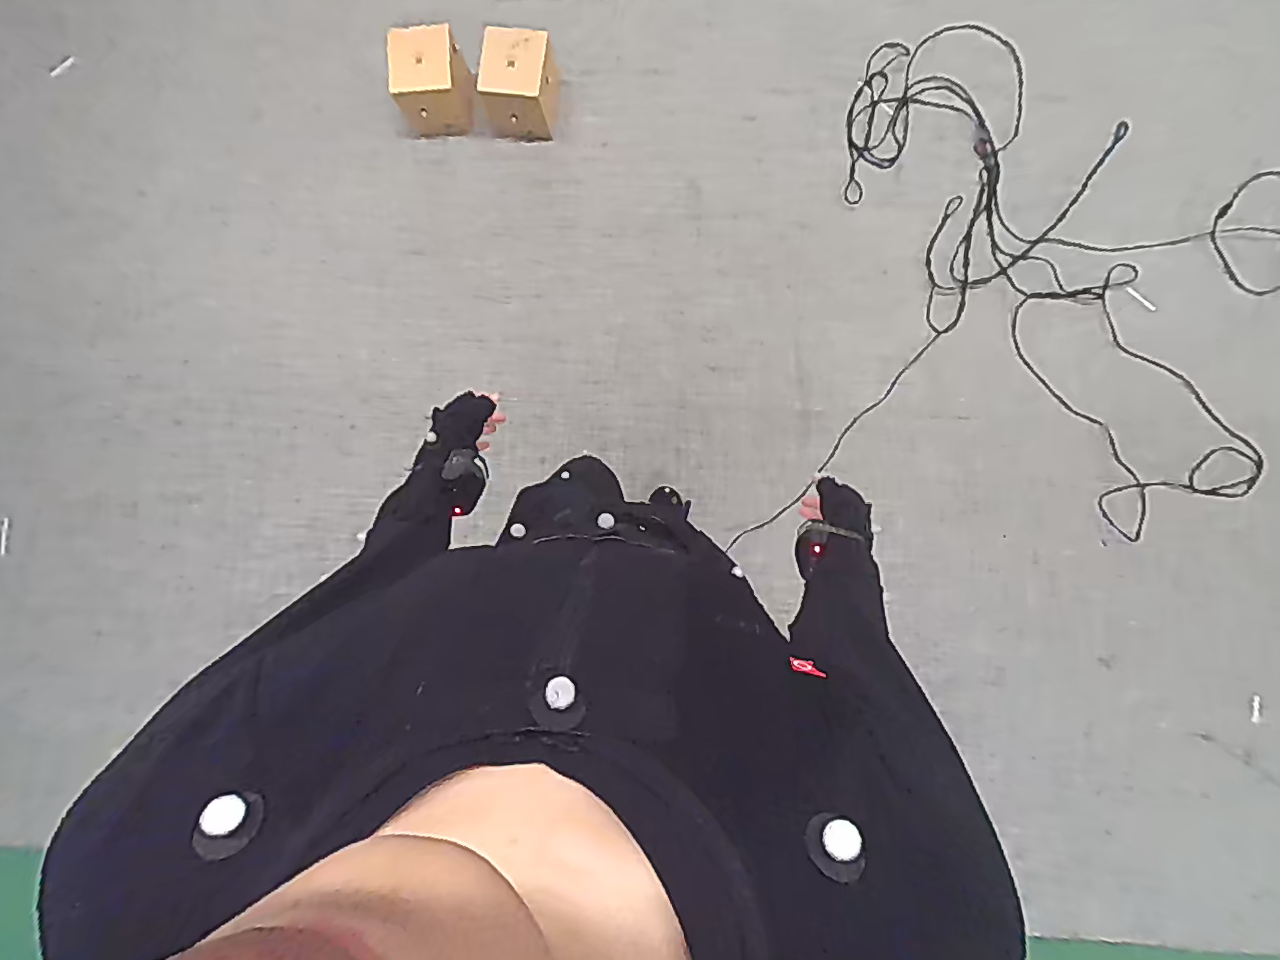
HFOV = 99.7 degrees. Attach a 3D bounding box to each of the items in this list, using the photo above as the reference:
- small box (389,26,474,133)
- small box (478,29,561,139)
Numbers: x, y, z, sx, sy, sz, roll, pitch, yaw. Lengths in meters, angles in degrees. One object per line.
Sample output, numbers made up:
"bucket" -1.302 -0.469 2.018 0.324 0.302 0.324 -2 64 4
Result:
"small box" -0.562 -1.080 1.477 0.168 0.176 0.179 -3 87 3
"small box" -0.318 -1.060 1.460 0.168 0.176 0.179 8 88 3
